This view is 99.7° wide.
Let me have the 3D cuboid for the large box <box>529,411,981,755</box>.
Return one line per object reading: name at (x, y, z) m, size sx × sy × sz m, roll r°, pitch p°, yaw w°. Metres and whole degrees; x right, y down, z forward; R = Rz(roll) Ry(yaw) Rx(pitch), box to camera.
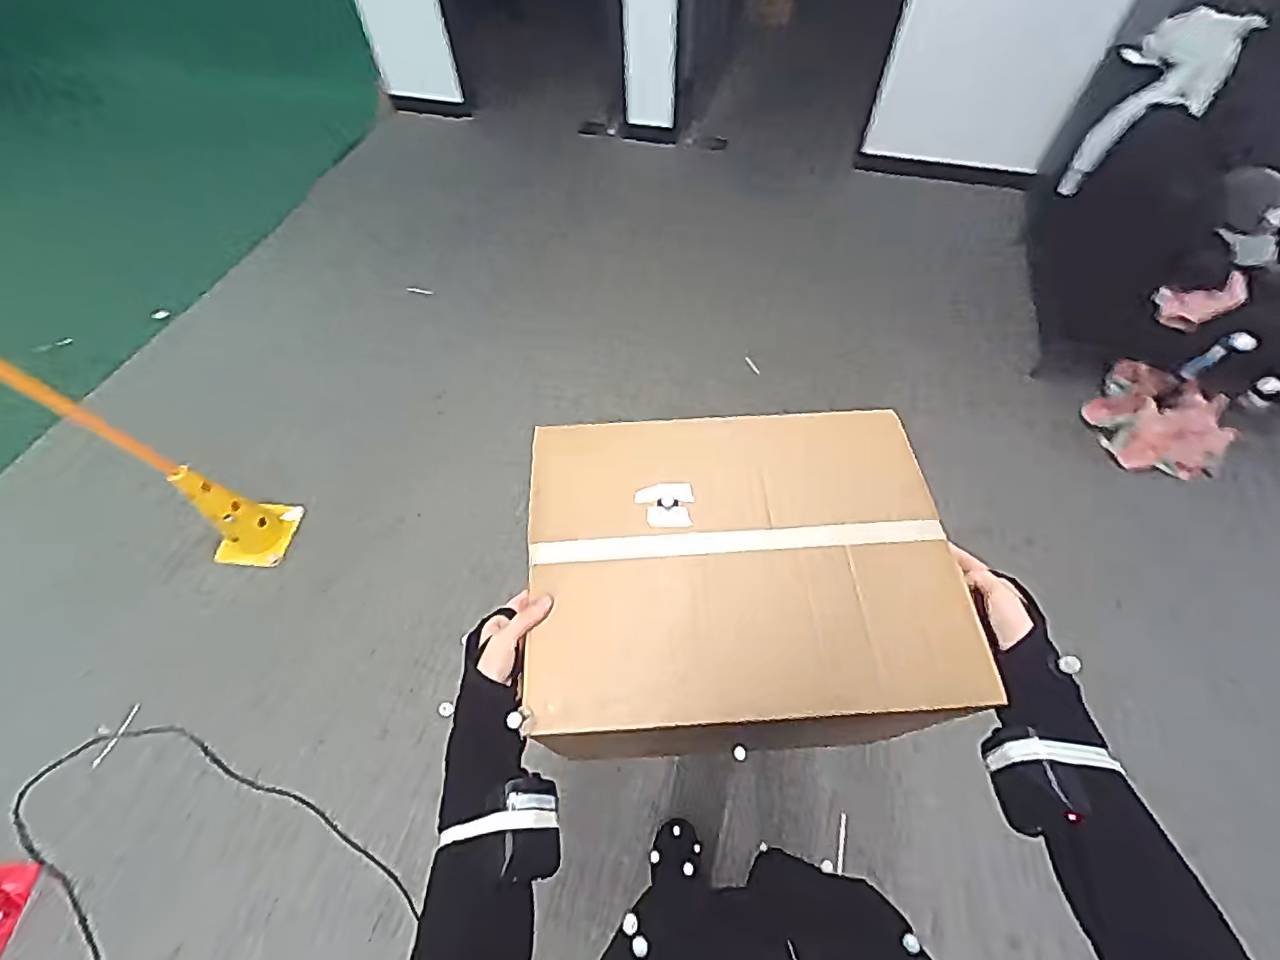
large box at (0.095, 0.144, 0.669) m, size 0.408 × 0.320 × 0.320 m, roll -5°, pitch 58°, yaw -1°
